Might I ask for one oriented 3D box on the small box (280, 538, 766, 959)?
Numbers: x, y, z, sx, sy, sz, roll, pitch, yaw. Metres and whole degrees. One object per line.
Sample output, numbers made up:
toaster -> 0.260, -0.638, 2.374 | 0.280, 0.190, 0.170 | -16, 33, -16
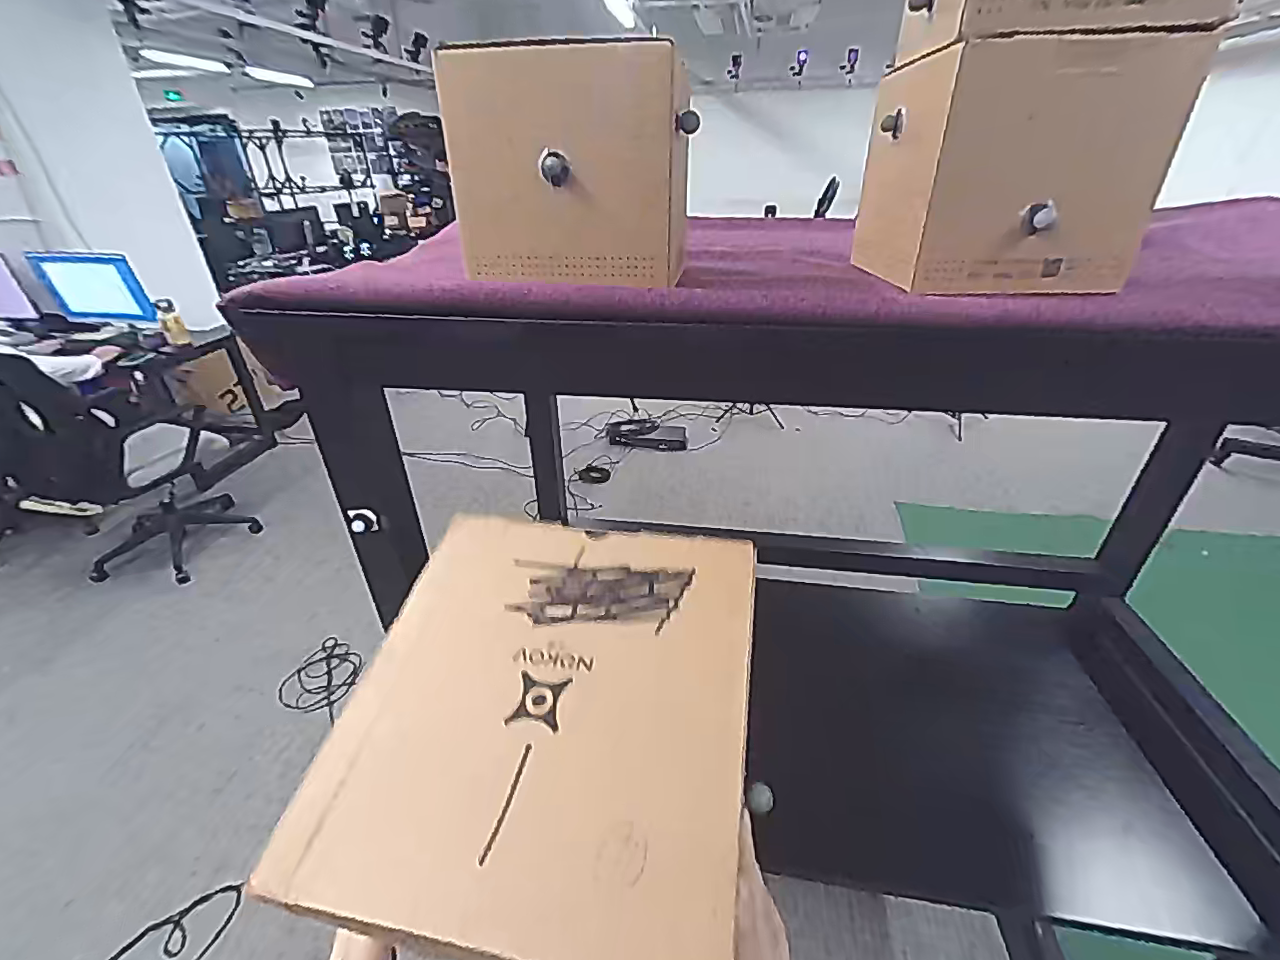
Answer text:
small box -> -0.026, 0.156, 0.286 | 0.168, 0.176, 0.179 | 4, 45, 11
